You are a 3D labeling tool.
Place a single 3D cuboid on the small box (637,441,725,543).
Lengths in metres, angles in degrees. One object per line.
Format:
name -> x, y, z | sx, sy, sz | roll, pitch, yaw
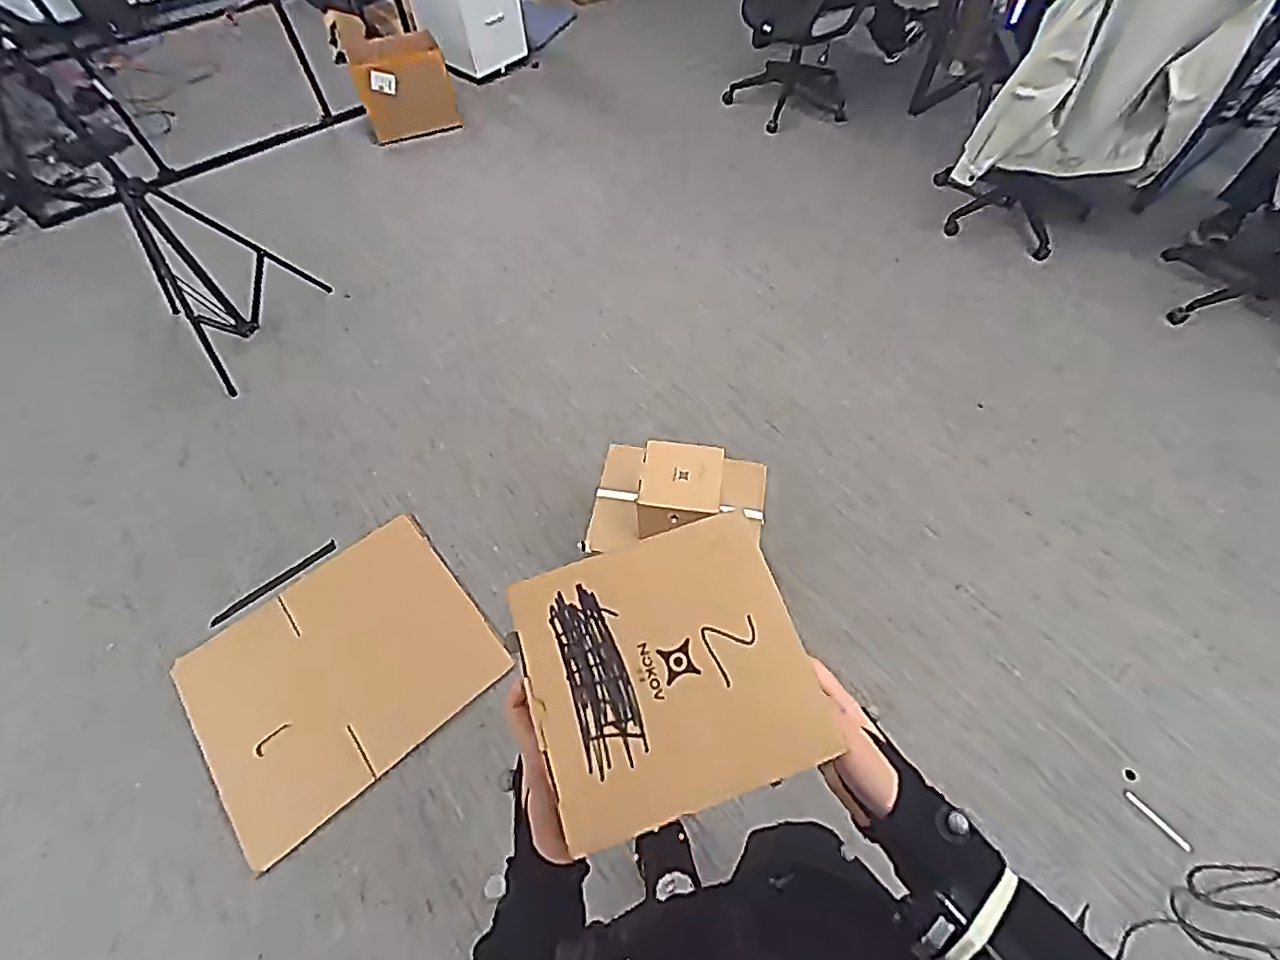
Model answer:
small box -> 0.093, 0.031, 1.230 | 0.179, 0.176, 0.168 | 6, 60, 5
